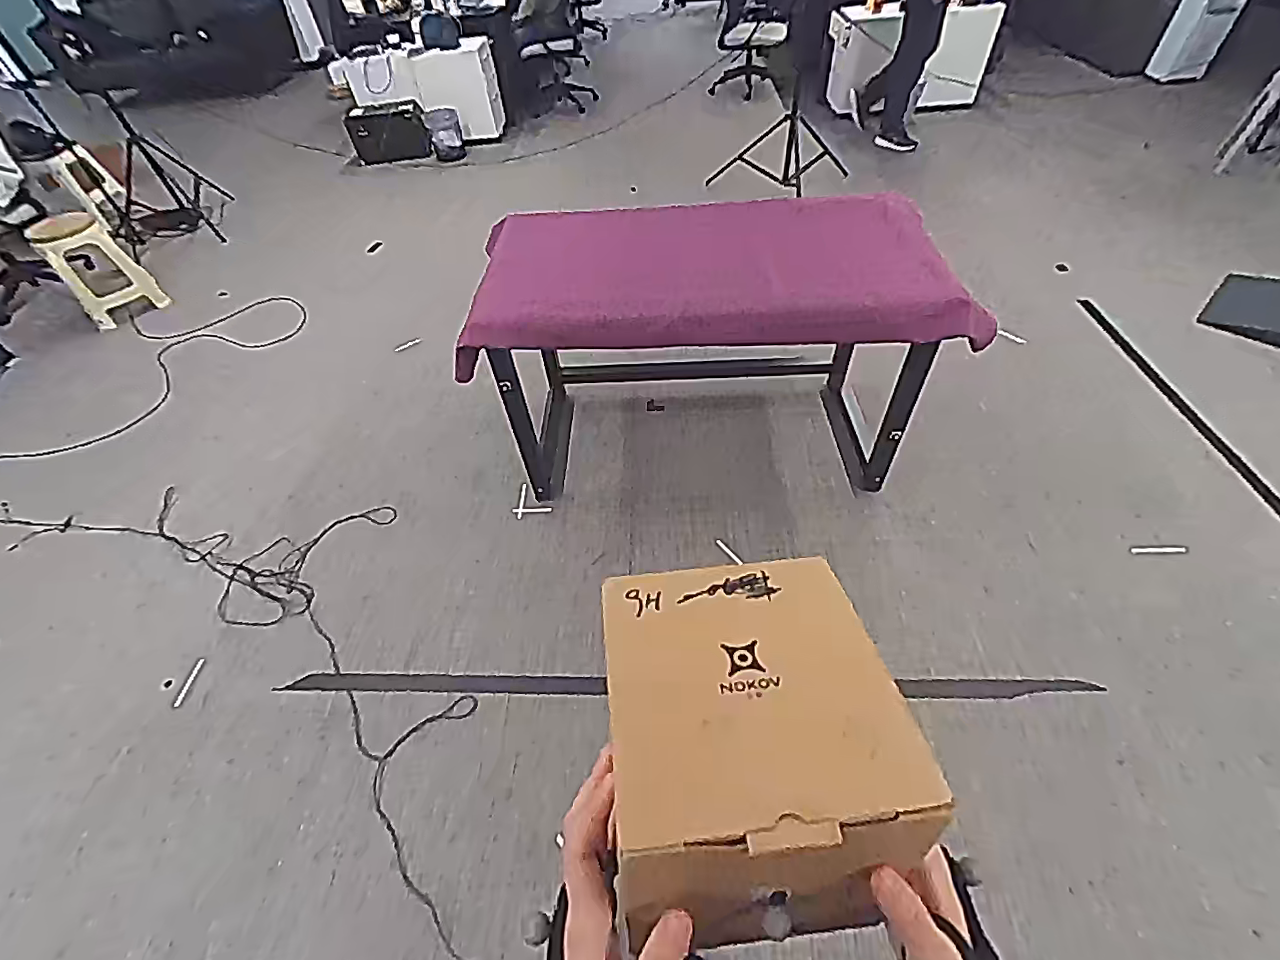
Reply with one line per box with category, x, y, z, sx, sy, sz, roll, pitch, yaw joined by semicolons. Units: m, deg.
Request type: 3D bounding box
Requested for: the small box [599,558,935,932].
small box;0.062;0.180;0.374;0.168;0.176;0.179;-5;37;-3
